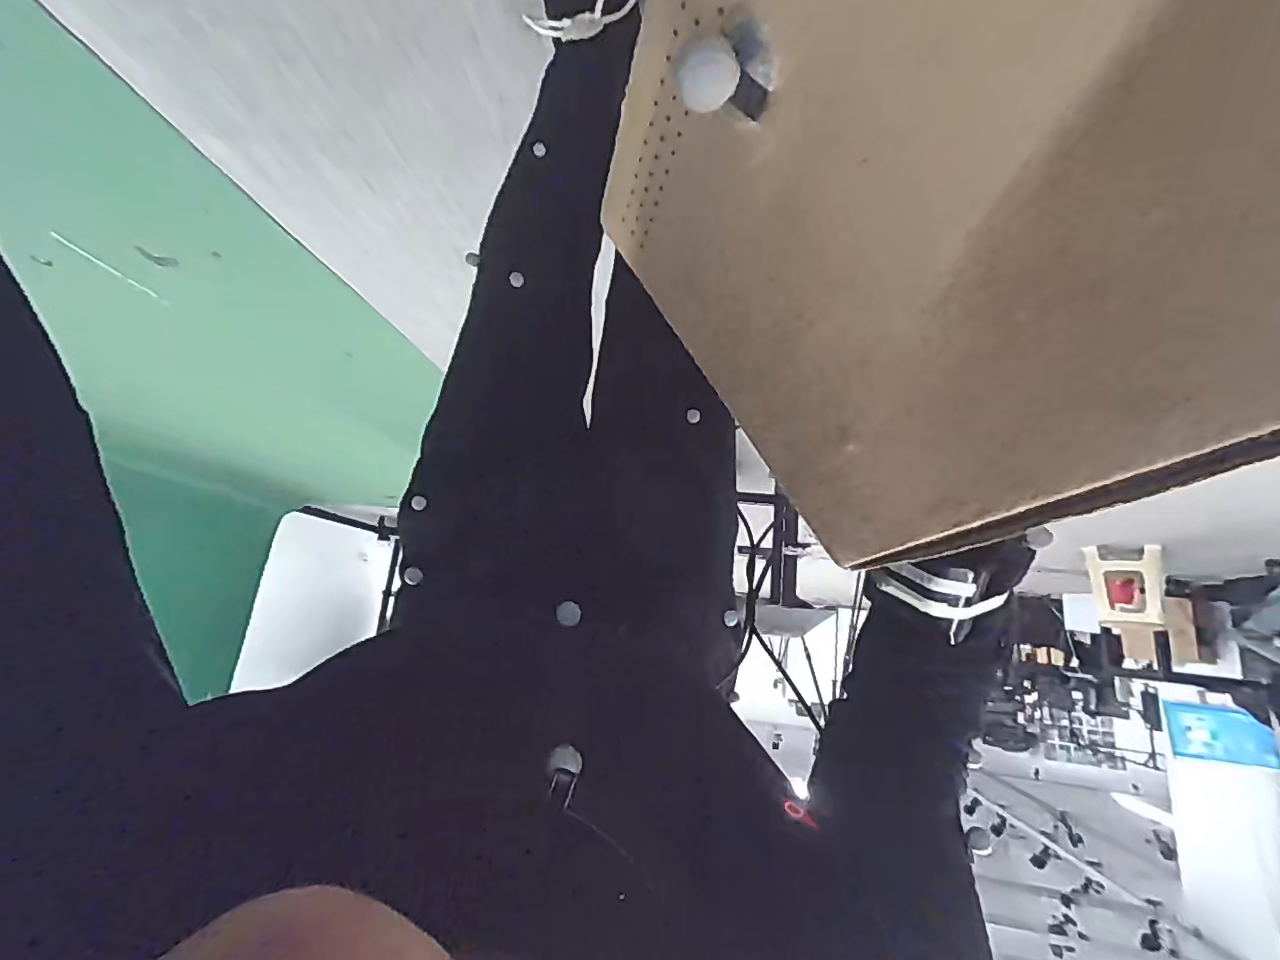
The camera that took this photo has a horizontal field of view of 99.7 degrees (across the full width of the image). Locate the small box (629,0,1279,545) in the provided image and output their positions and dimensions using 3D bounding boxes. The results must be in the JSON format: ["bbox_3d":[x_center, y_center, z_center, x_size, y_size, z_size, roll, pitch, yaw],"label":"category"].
[{"bbox_3d":[0.116,-0.107,0.155,0.168,0.176,0.179,-28,170,-22],"label":"small box"}]
